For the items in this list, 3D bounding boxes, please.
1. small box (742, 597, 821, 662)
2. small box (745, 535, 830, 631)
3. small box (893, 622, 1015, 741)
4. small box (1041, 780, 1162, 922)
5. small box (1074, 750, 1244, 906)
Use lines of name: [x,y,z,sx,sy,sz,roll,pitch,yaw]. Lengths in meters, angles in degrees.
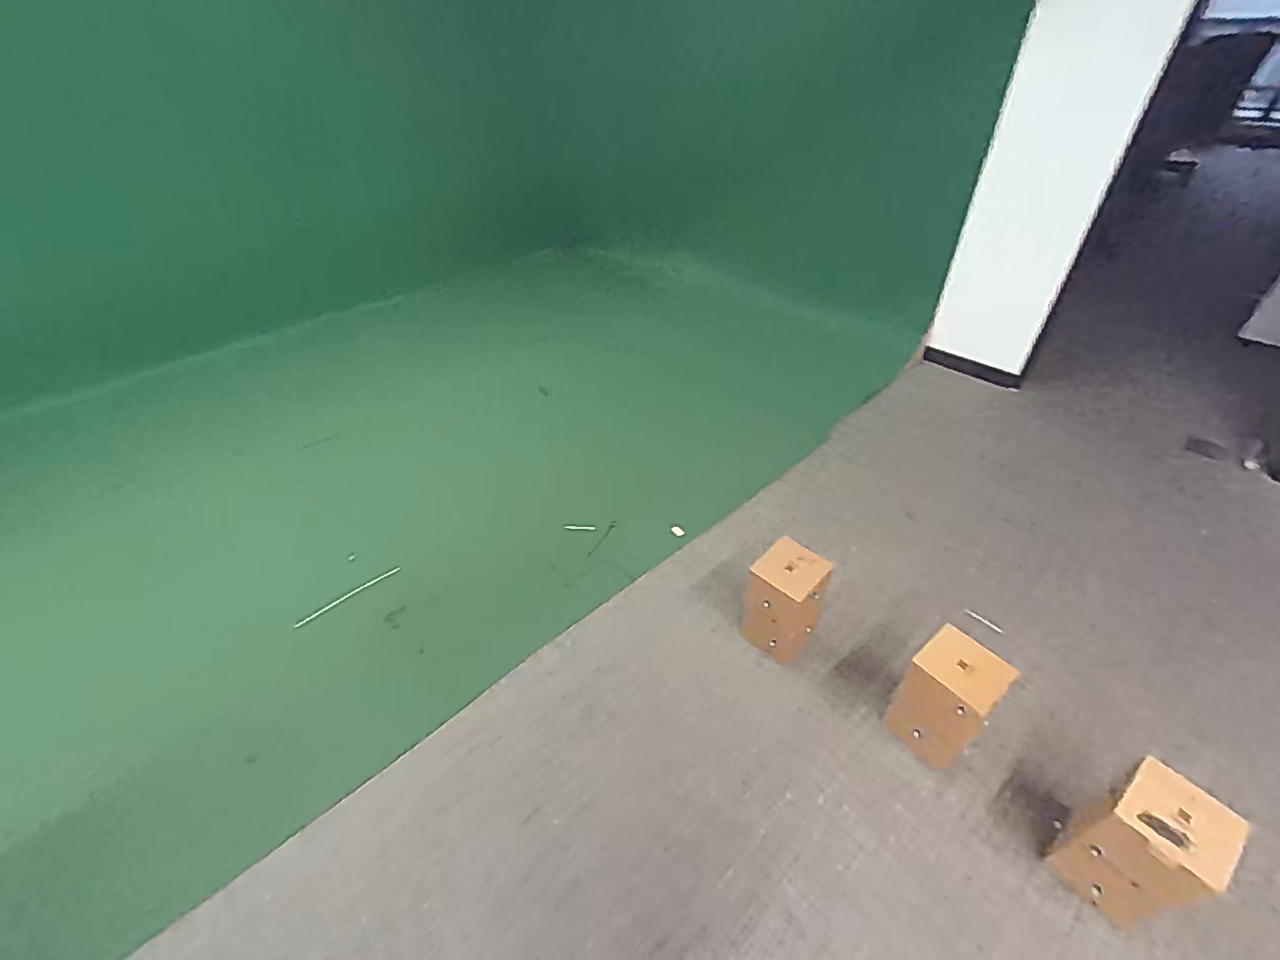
small box: [0.426,0.419,1.658,0.179,0.176,0.168,-33,50,-30]
small box: [0.415,0.297,1.548,0.179,0.176,0.168,-34,51,-30]
small box: [0.749,0.488,1.308,0.168,0.176,0.179,-29,47,-26]
small box: [1.017,0.808,1.174,0.179,0.176,0.168,-31,48,-26]
small box: [1.005,0.685,1.063,0.179,0.176,0.168,-28,47,-26]
